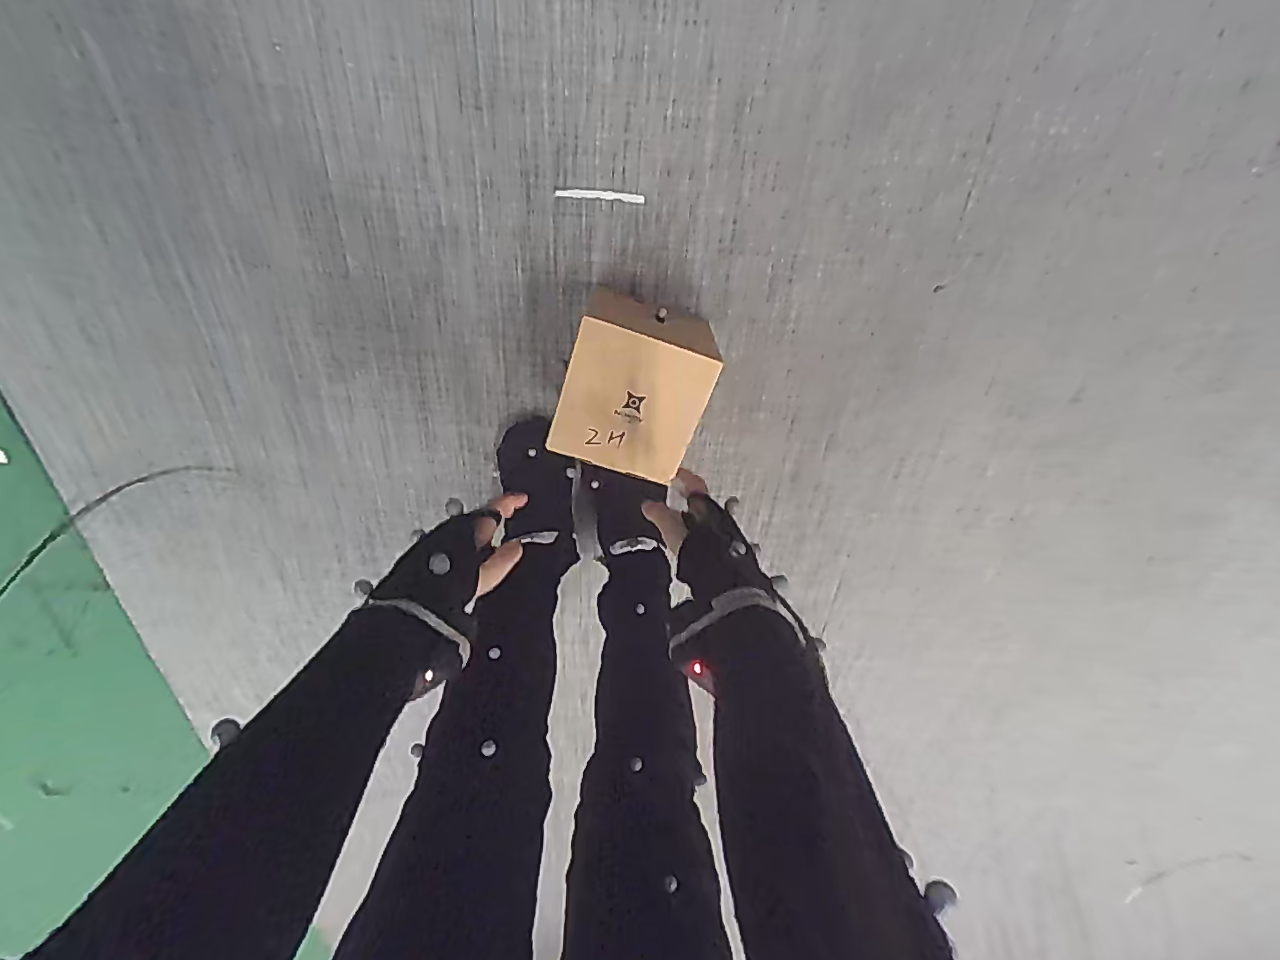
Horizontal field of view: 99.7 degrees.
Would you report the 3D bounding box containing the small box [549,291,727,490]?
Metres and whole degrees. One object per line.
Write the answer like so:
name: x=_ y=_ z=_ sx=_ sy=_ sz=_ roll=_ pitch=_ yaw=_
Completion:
small box: x=-0.007 y=-0.121 z=0.694 sx=0.168 sy=0.176 sz=0.179 roll=17 pitch=122 yaw=-9
